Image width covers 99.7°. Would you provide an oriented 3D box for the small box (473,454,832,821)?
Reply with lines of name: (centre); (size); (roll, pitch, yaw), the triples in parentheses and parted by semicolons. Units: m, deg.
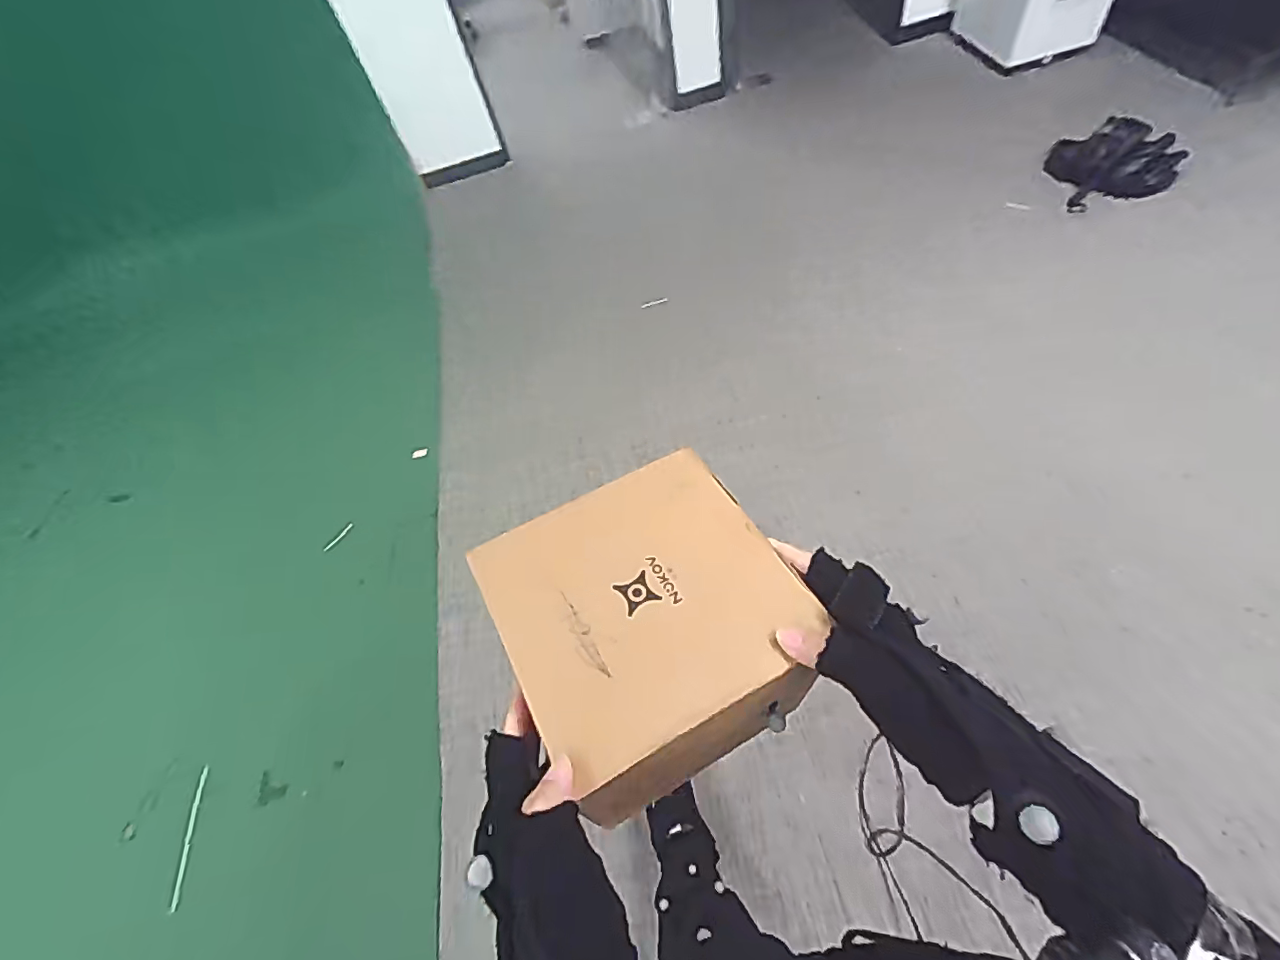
small box: (0.006, 0.118, 0.401); (0.179, 0.176, 0.168); (-27, 54, -14)
